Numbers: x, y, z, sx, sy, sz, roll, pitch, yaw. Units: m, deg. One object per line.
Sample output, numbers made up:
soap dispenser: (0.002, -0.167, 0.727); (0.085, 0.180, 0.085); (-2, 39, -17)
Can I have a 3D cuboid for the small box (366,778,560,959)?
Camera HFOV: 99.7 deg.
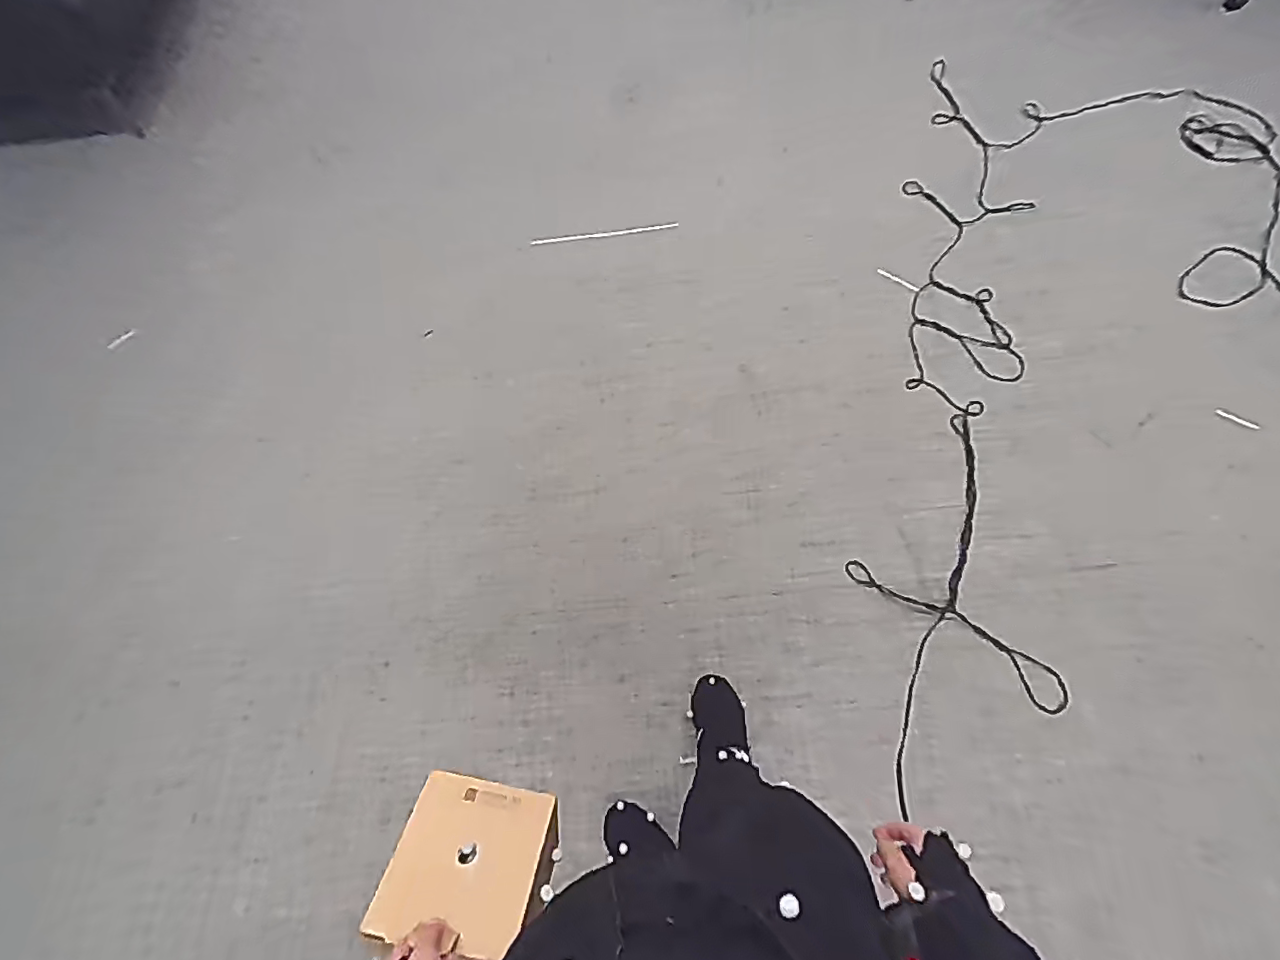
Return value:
small box: (-0.201, 0.499, 0.666); (0.168, 0.179, 0.176); (10, 37, 4)
